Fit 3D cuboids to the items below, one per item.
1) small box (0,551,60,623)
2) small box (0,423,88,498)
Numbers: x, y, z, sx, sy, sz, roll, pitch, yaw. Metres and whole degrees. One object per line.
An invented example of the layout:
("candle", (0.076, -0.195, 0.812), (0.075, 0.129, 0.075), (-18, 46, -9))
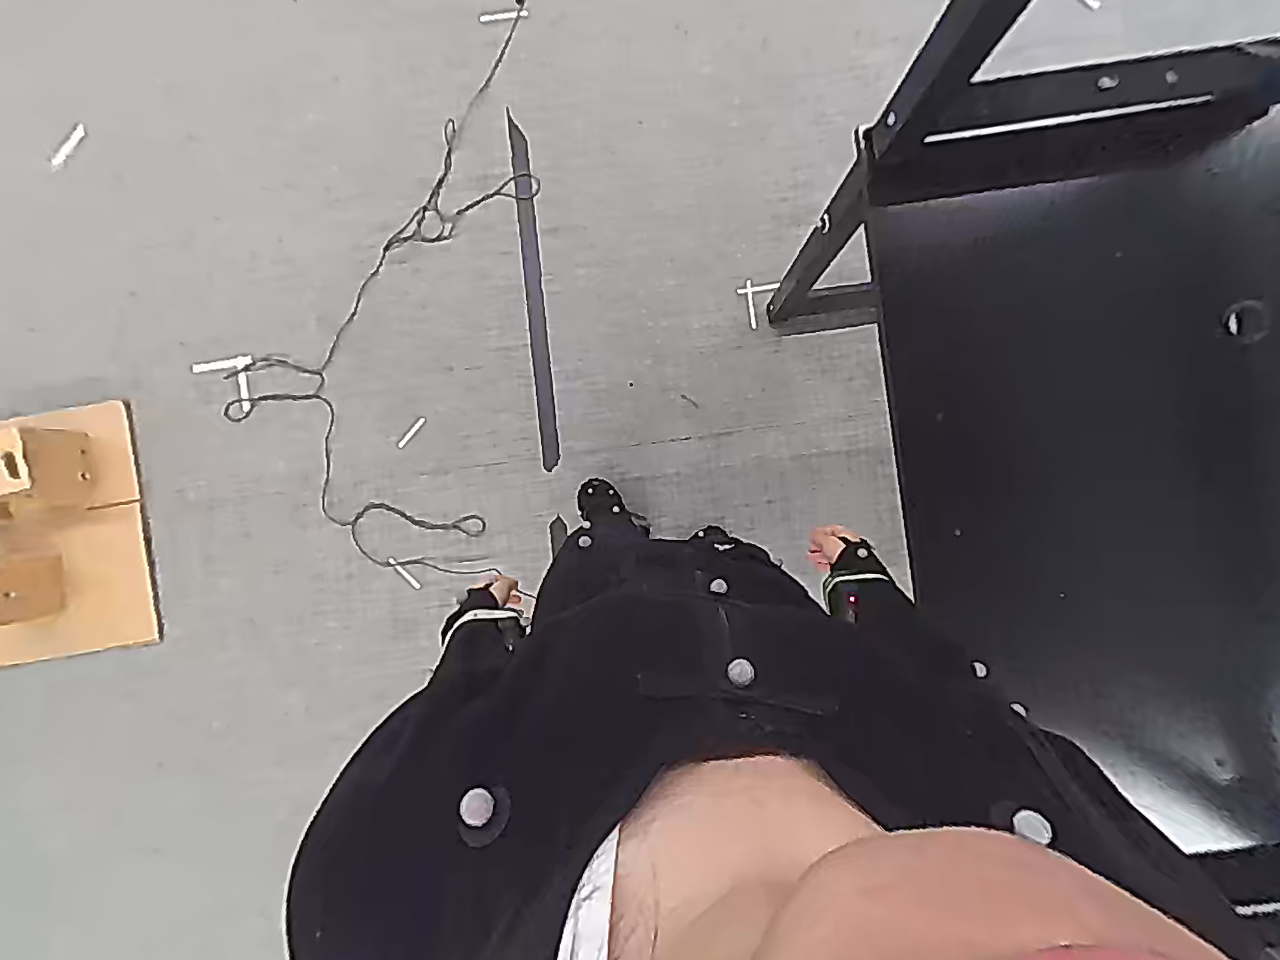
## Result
("small box", (-1.719, 0.287, 1.444), (0.168, 0.176, 0.179), (-5, 90, 1))
("small box", (-1.643, -0.049, 1.447), (0.179, 0.176, 0.168), (-13, 89, 1))
